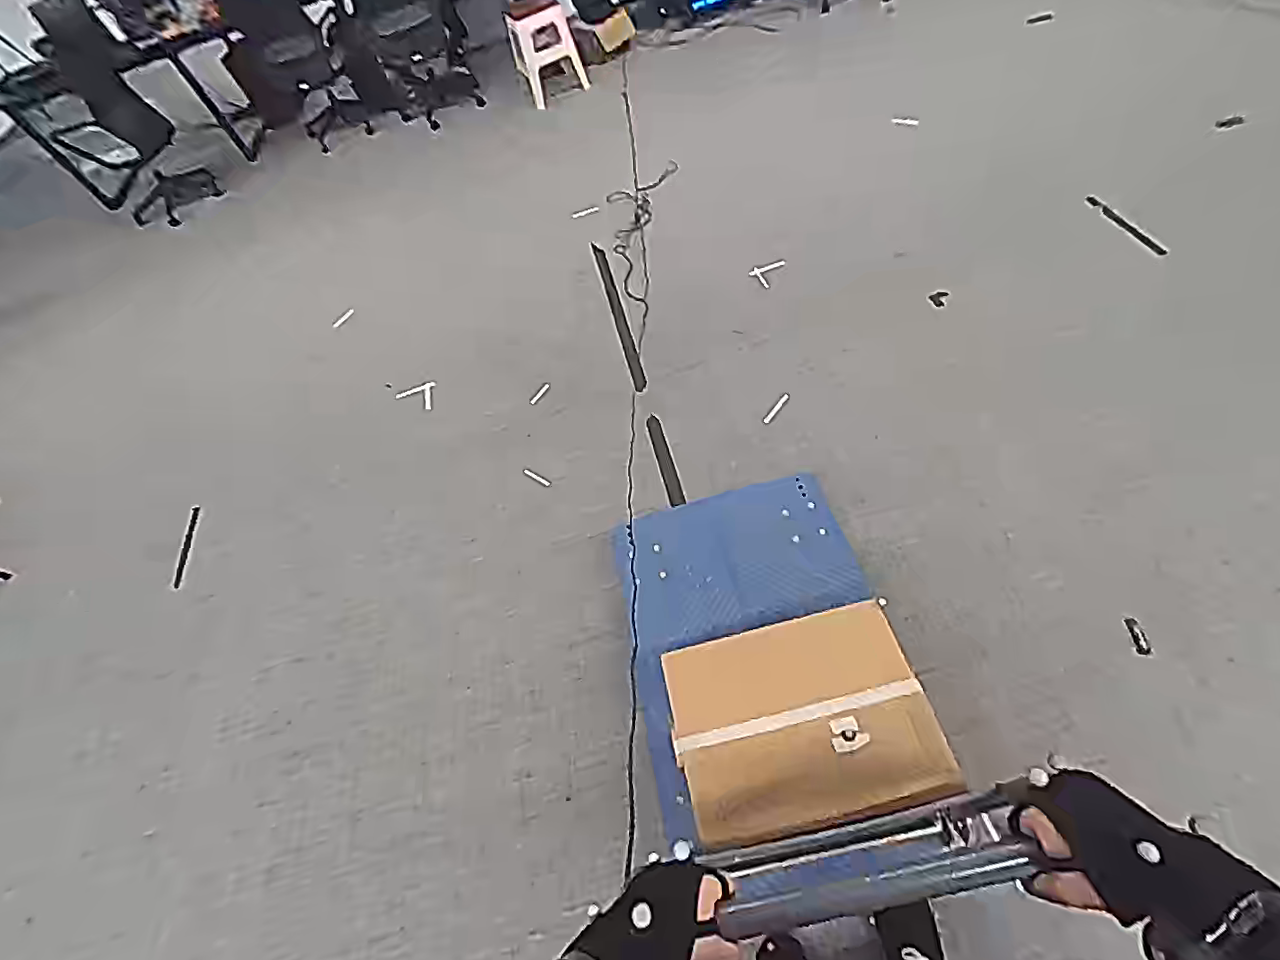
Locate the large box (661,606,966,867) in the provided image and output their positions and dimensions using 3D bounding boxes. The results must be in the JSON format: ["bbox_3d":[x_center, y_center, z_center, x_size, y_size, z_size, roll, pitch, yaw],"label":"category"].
[{"bbox_3d":[0.285,0.481,0.997,0.408,0.320,0.320,-16,54,3],"label":"large box"}]
